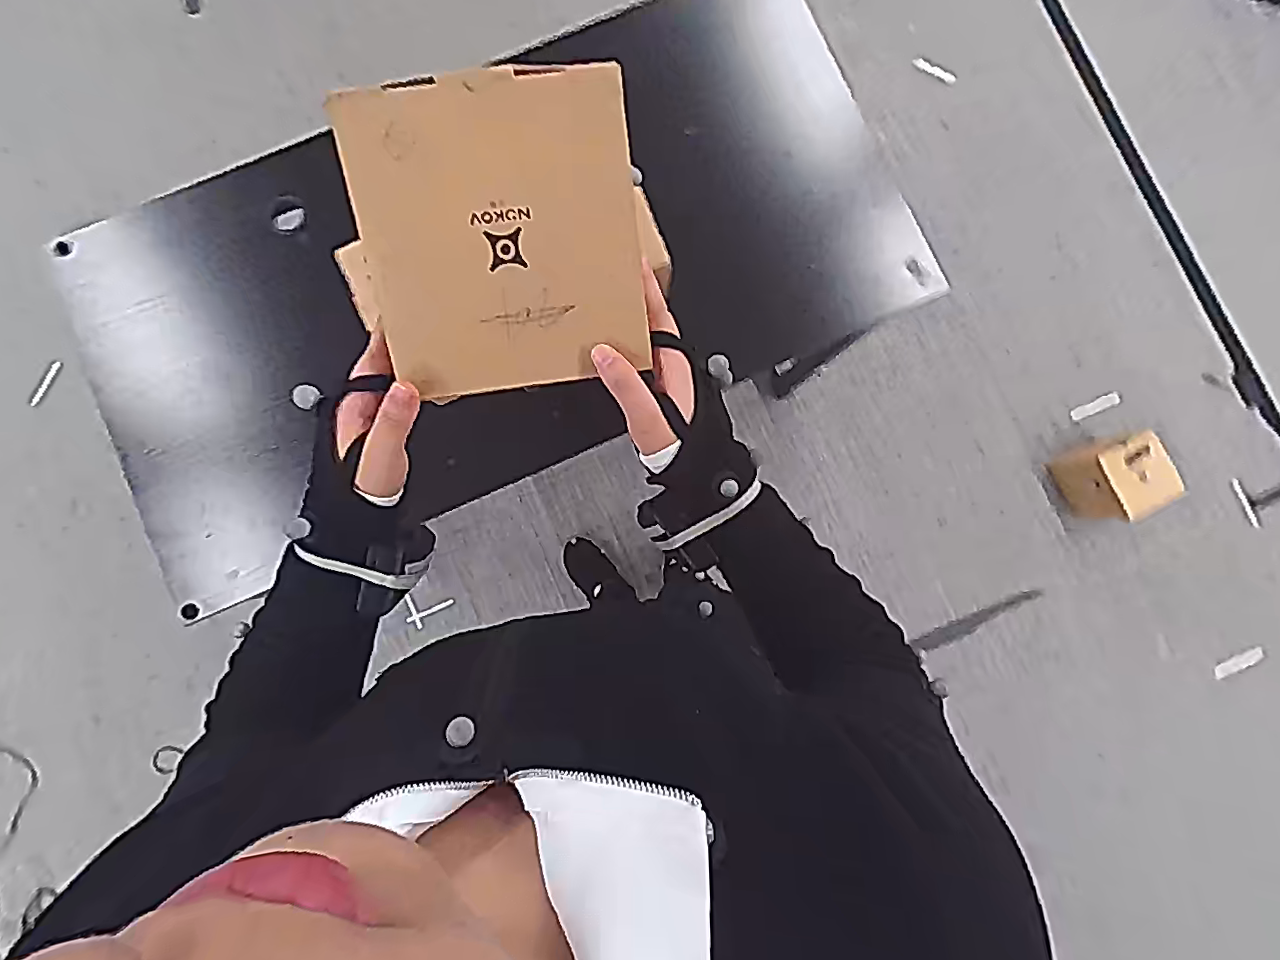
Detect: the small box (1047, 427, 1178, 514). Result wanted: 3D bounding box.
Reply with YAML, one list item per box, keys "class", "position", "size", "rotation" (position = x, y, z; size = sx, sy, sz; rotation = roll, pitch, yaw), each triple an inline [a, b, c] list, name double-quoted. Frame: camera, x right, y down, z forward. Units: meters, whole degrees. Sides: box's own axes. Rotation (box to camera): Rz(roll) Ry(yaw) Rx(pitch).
- class: "small box"
  position: [1.249, -0.018, 1.445]
  size: [0.168, 0.176, 0.179]
  rotation: [-27, 87, -2]

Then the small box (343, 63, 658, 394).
- class: "small box"
  position: [-0.085, -0.168, 0.403]
  size: [0.168, 0.176, 0.179]
  rotation: [-7, 108, -4]
